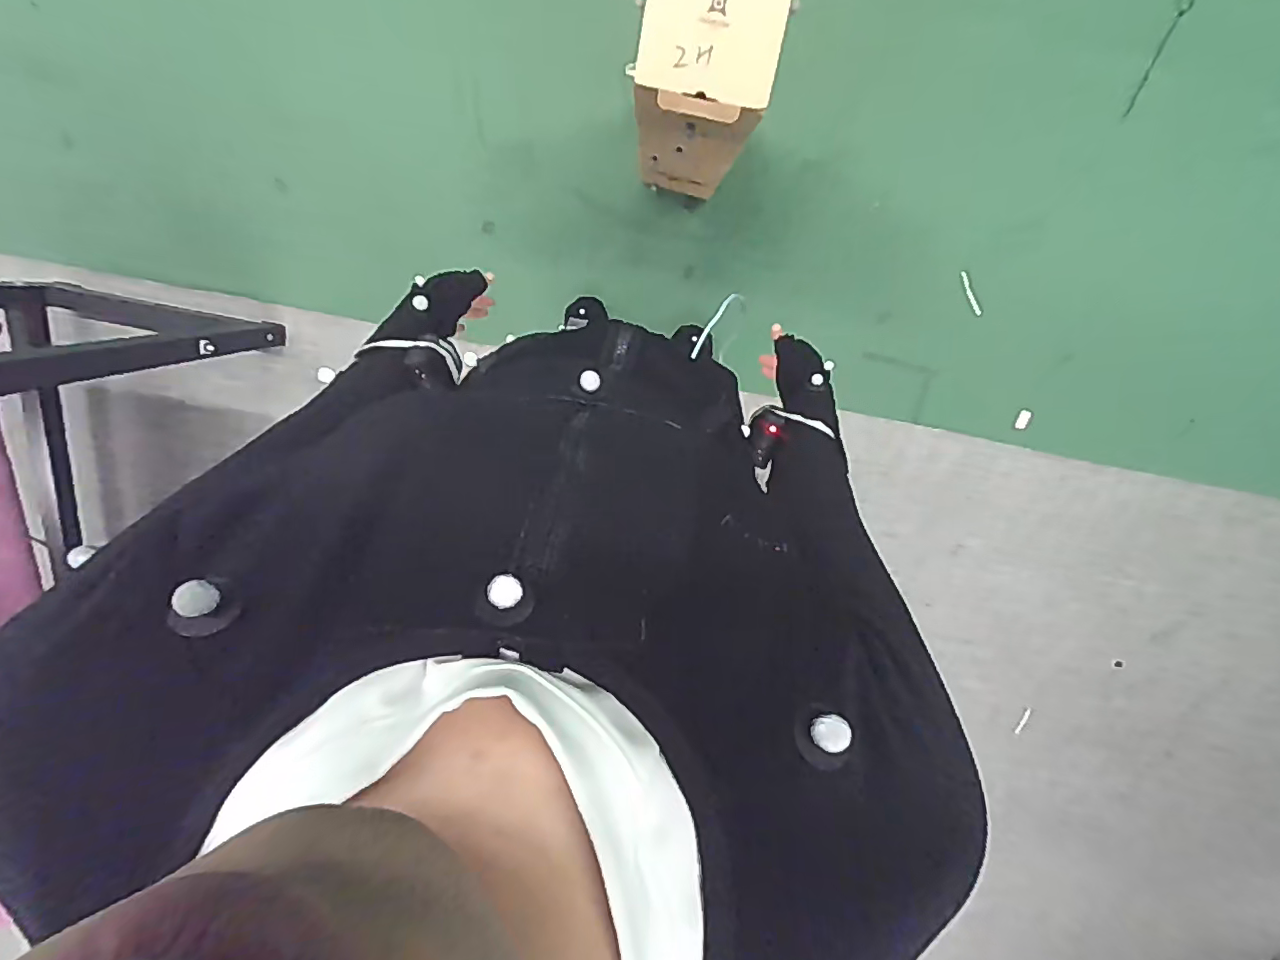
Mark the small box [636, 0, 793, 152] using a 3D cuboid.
[{"bbox_3d":[0.090,-0.562,0.708,0.168,0.176,0.179,11,109,-3],"label":"small box"}]

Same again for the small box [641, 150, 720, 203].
[{"bbox_3d":[0.103,-0.721,1.174,0.168,0.176,0.179,13,109,-4],"label":"small box"}]

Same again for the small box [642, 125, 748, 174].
[{"bbox_3d":[0.098,-0.618,0.863,0.168,0.176,0.179,11,109,-3],"label":"small box"}]
